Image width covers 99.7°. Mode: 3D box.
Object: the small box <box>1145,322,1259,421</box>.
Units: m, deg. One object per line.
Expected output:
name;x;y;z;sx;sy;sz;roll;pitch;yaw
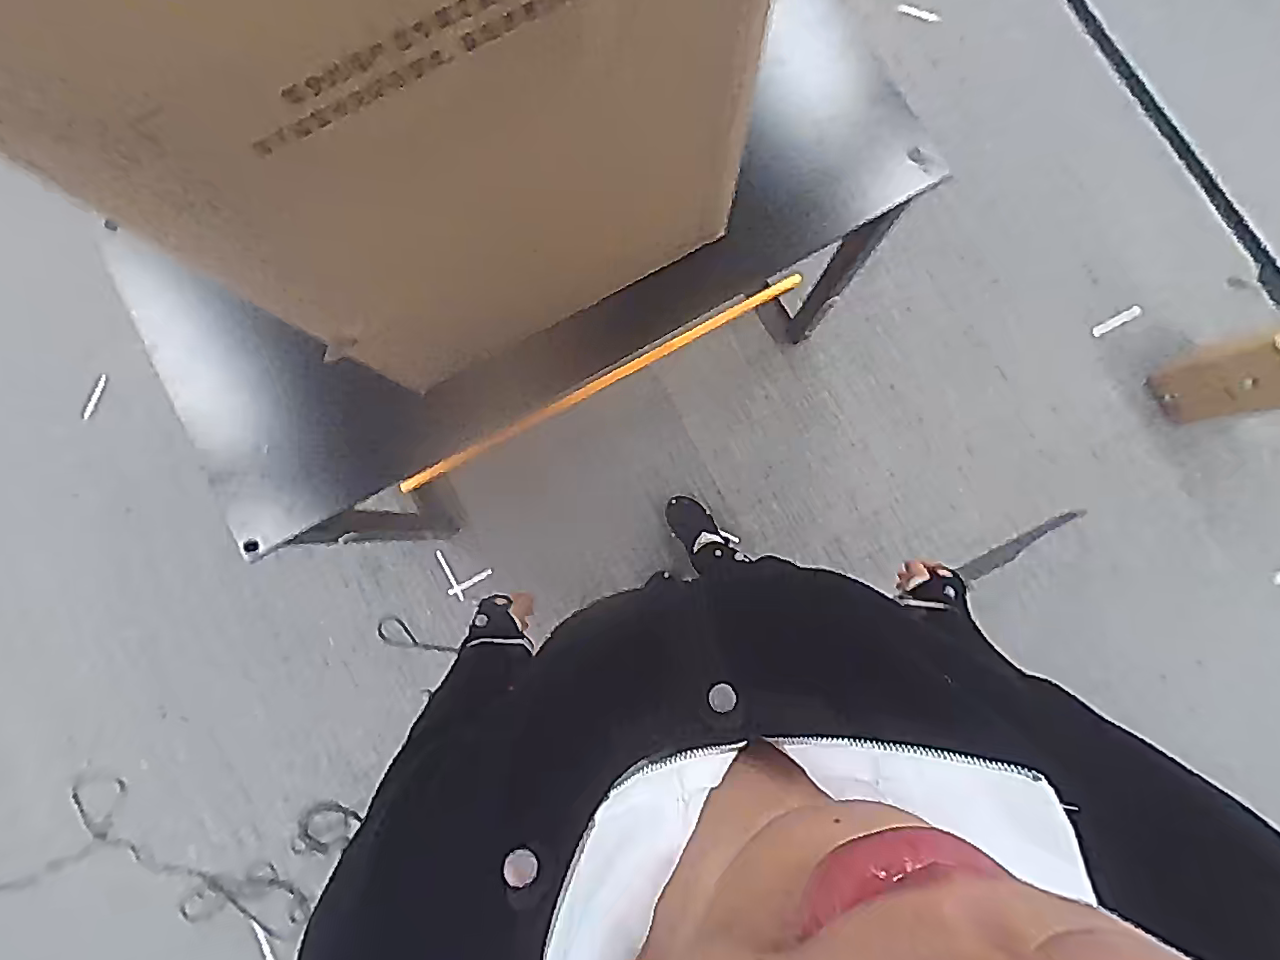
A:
small box;1.504;-0.276;1.415;0.179;0.176;0.168;-30;83;0

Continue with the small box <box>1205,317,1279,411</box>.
small box;1.485;-0.281;1.251;0.179;0.176;0.168;-29;84;0
